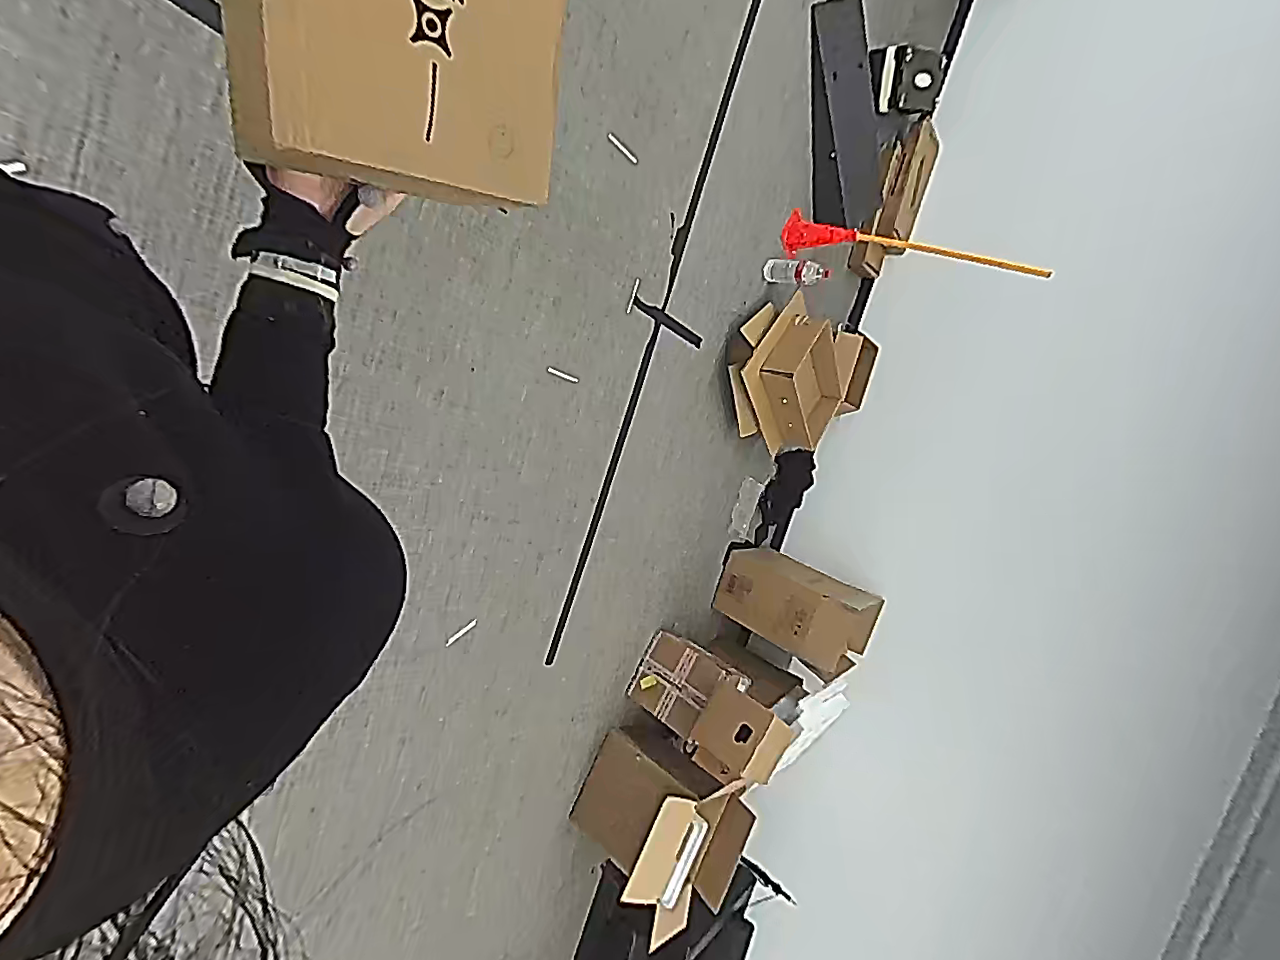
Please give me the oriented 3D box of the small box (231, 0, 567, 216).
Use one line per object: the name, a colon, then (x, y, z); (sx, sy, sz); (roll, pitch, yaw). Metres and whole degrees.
small box: (-0.168, -0.293, 0.368); (0.168, 0.176, 0.179); (-8, 117, -40)
